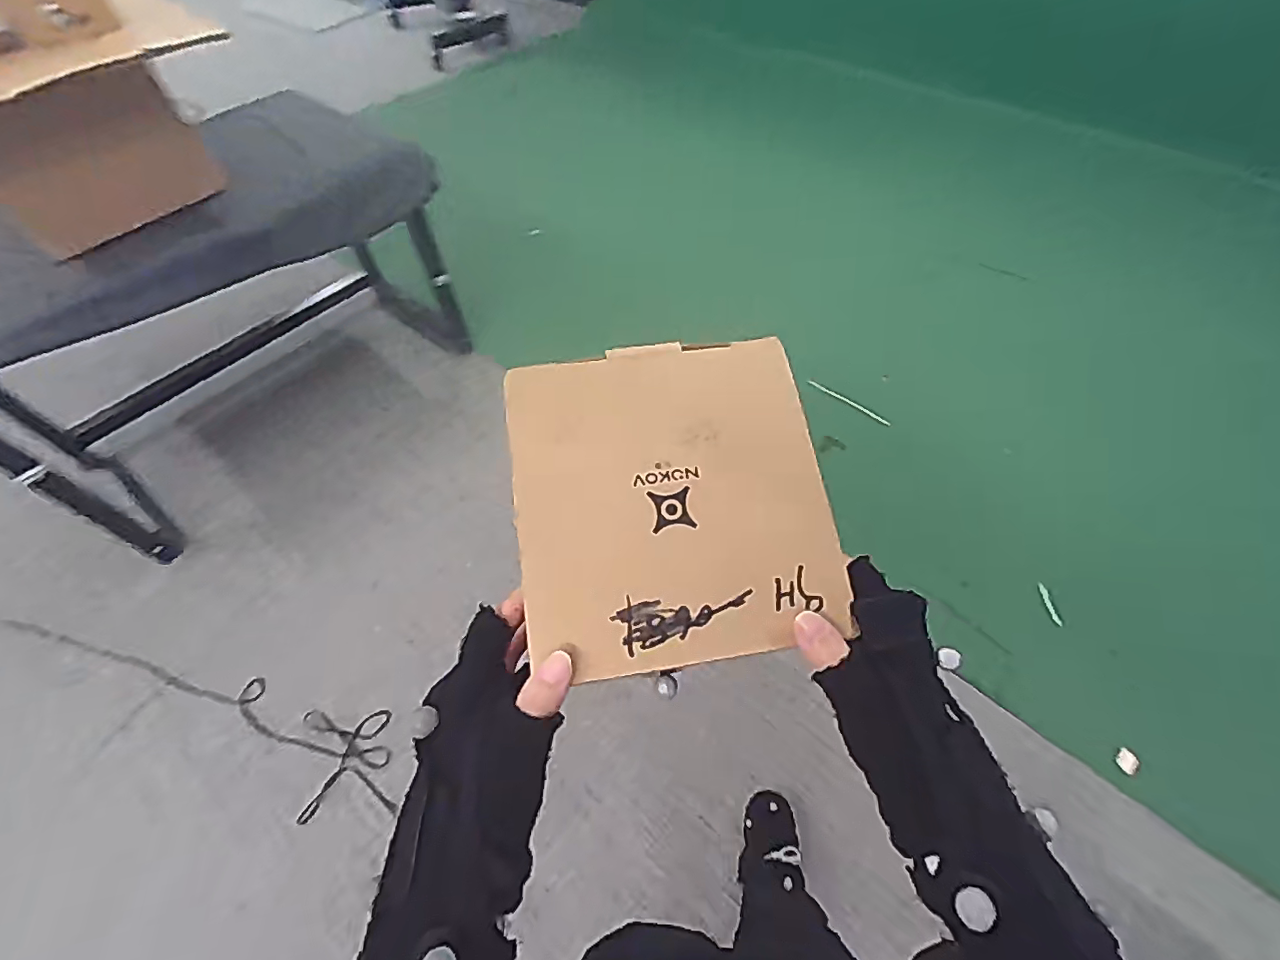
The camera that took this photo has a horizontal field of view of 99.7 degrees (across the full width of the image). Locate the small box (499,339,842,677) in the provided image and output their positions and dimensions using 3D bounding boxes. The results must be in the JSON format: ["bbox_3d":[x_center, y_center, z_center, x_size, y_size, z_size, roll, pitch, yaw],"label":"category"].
[{"bbox_3d":[0.007,0.032,0.371,0.168,0.176,0.179,-9,71,-4],"label":"small box"}]
